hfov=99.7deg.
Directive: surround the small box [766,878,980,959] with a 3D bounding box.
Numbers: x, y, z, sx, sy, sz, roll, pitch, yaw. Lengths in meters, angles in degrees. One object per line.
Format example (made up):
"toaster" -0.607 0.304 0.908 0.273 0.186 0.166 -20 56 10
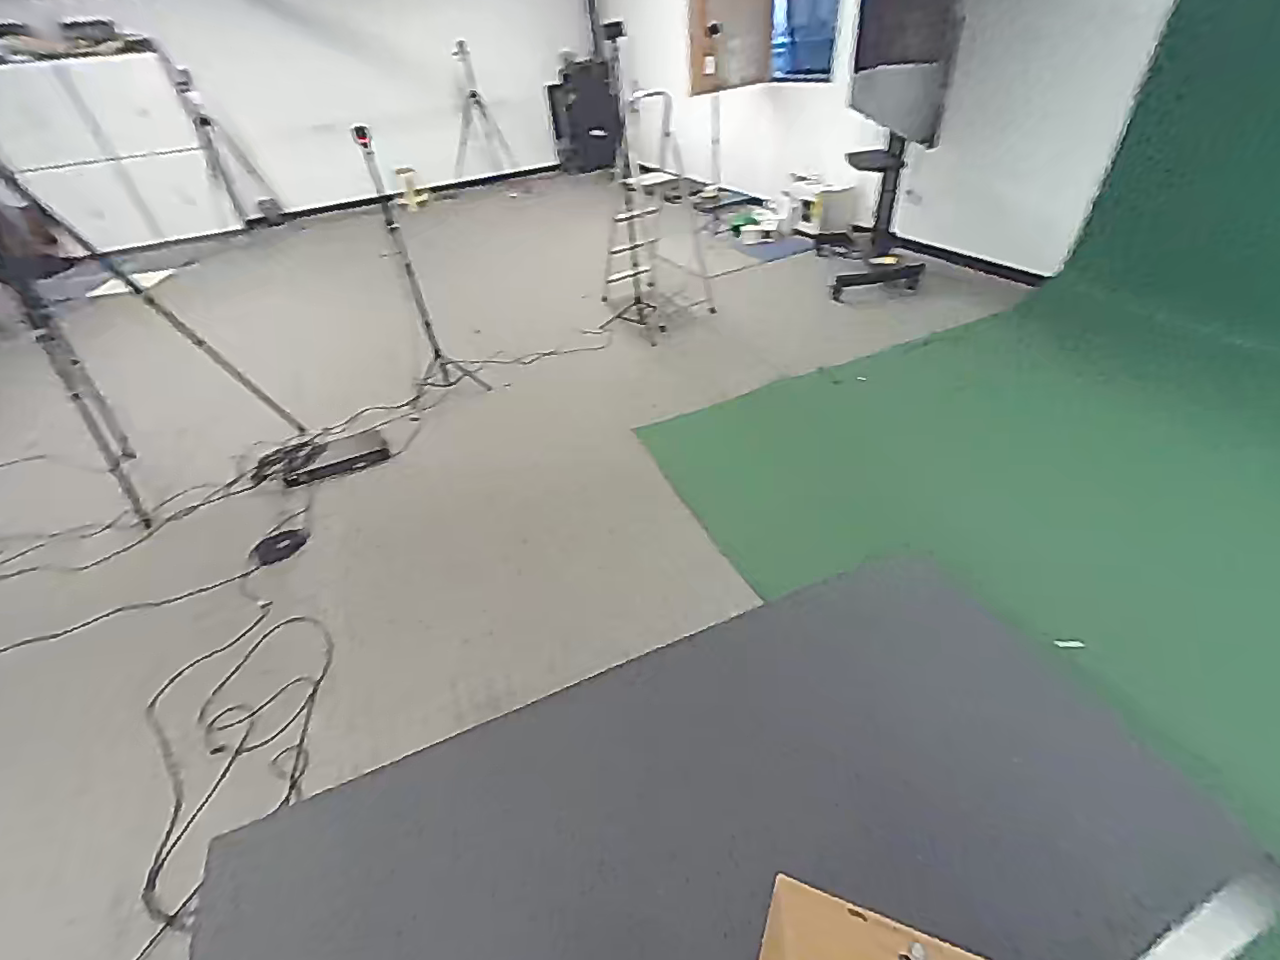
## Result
"small box" 0.154 0.387 0.326 0.168 0.176 0.179 14 73 16
